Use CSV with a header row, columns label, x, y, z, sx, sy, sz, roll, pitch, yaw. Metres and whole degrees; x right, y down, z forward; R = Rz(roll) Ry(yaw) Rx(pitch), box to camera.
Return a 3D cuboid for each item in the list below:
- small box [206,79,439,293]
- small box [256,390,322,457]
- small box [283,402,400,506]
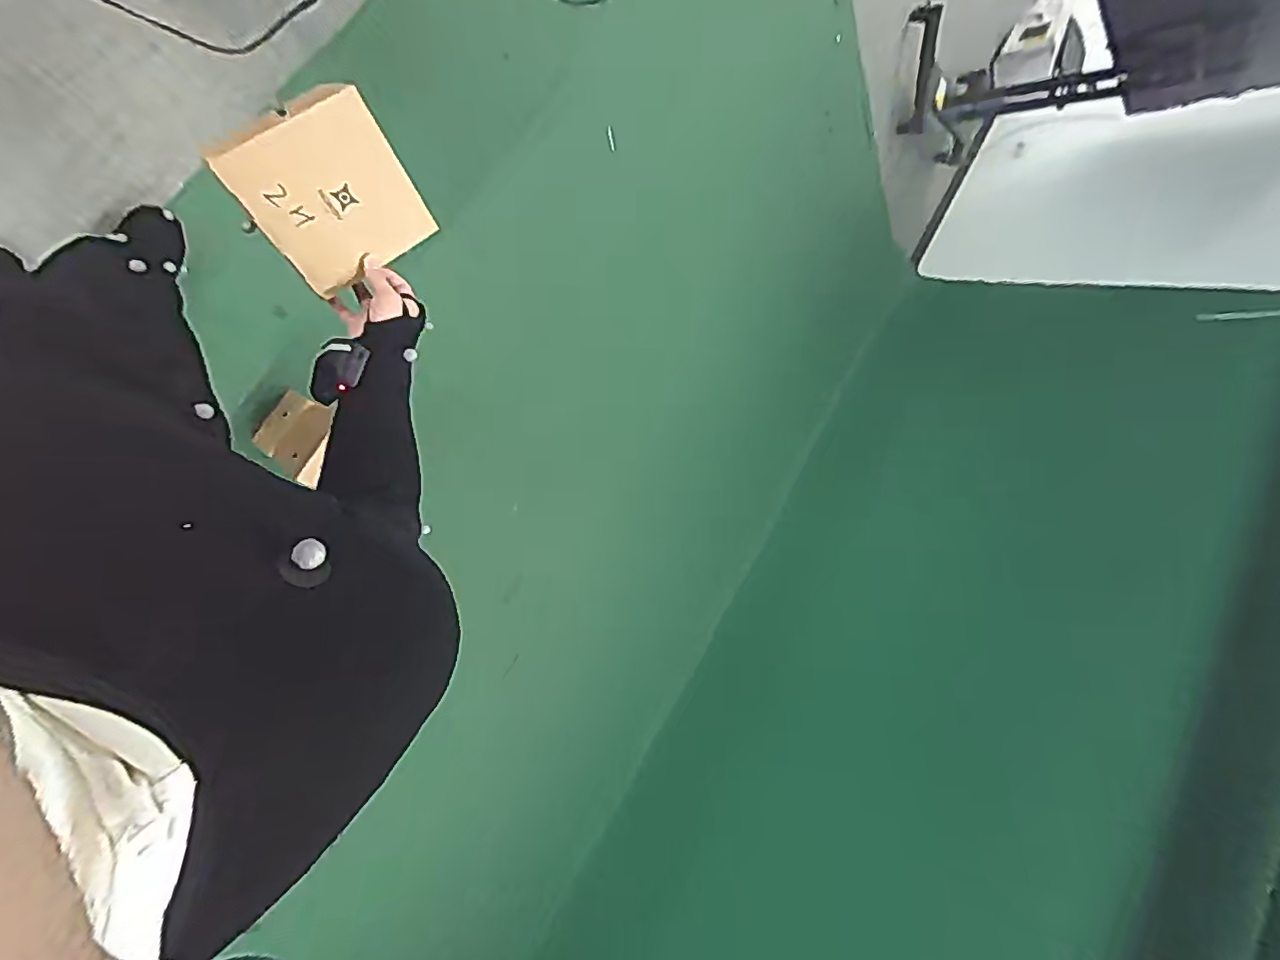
label,x,y,z,sx,sy,sz,roll,pitch,yaw
small box,-0.392,-0.367,0.668,0.179,0.176,0.168,-40,138,-12
small box,-0.858,-0.119,1.414,0.179,0.176,0.168,42,74,-49
small box,-0.734,-0.067,1.321,0.168,0.176,0.179,42,73,-49
